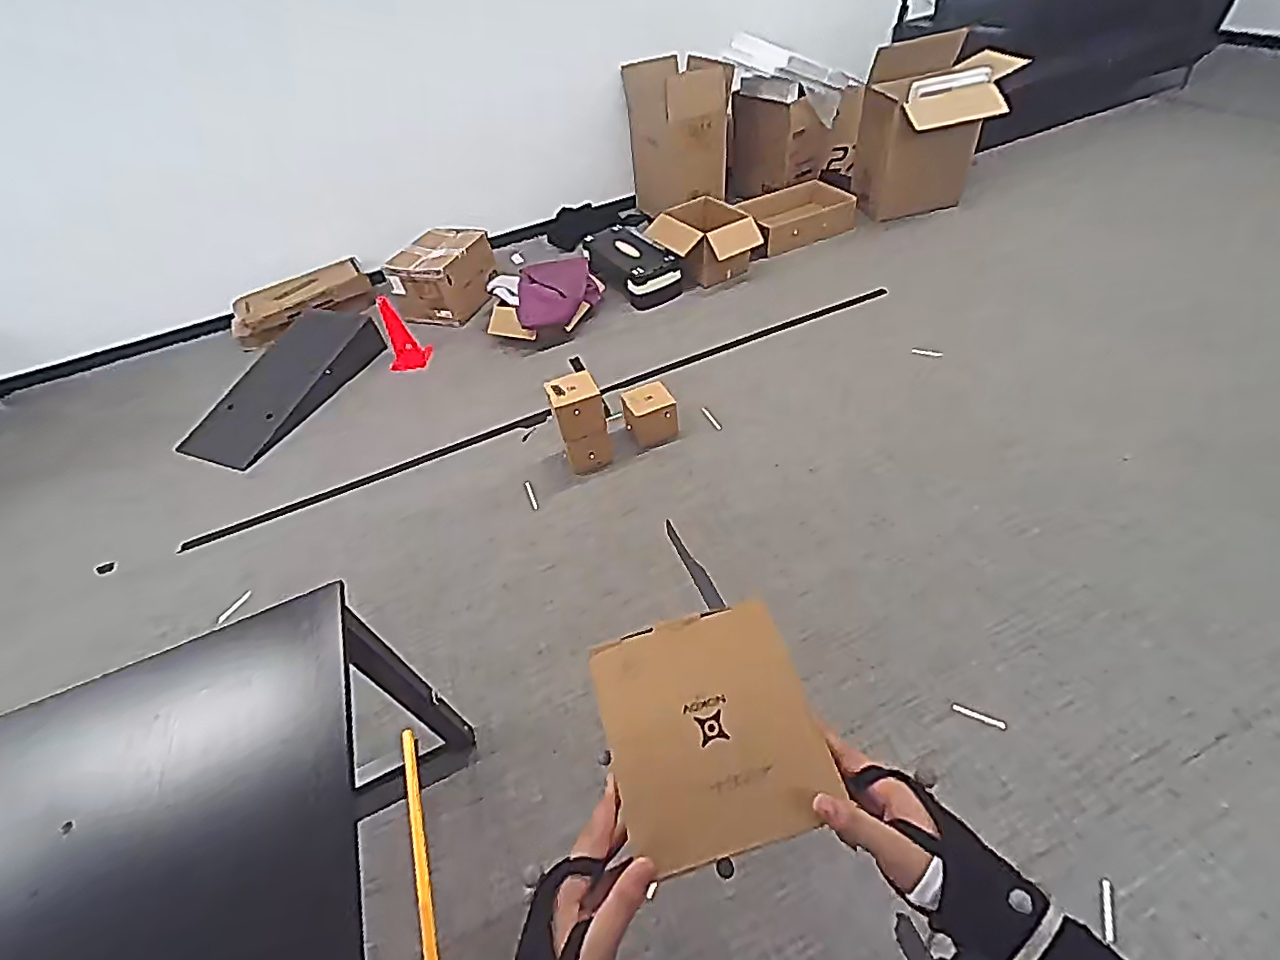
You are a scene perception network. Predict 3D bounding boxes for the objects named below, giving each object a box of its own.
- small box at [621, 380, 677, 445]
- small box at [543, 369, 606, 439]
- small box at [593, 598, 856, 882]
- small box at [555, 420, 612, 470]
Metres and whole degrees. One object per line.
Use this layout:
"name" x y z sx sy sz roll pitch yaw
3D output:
"small box" 0.040 -0.270 2.185 0.179 0.176 0.168 -22 48 -12
"small box" -0.240 -0.279 2.012 0.179 0.176 0.168 -20 47 -10
"small box" 0.060 0.235 0.490 0.168 0.176 0.179 -14 57 -6
"small box" -0.219 -0.162 2.128 0.168 0.176 0.179 -20 48 -9
